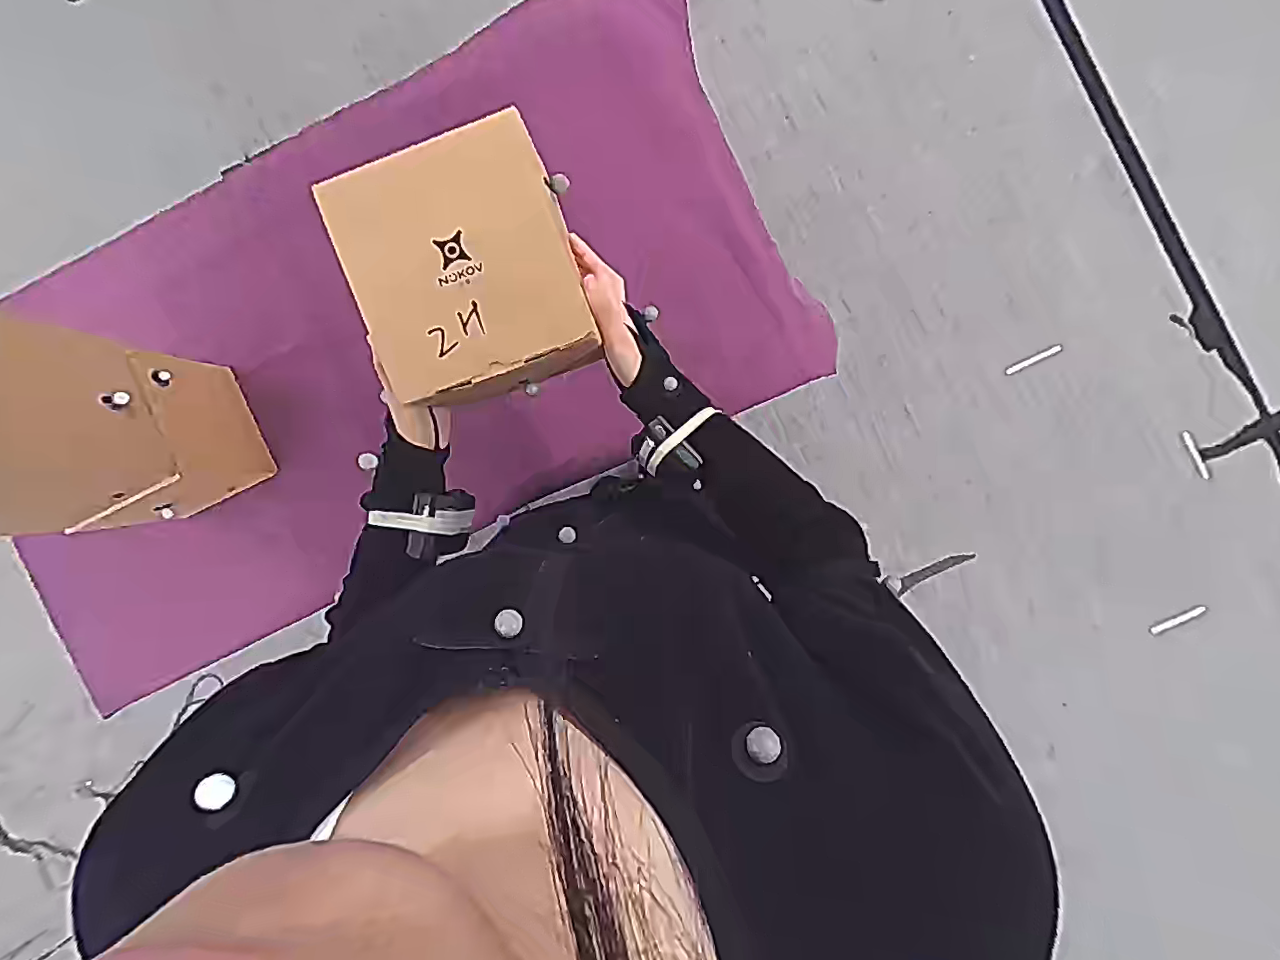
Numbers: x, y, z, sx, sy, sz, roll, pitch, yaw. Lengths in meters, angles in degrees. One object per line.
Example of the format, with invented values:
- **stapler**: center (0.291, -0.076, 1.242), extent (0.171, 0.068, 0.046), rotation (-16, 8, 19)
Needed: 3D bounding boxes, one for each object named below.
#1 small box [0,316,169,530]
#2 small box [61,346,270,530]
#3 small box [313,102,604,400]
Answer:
- **small box**: center (-0.658, -0.053, 0.557), extent (0.168, 0.176, 0.179), rotation (-26, 90, 3)
- **small box**: center (-0.648, -0.053, 0.721), extent (0.168, 0.176, 0.179), rotation (-25, 90, 3)
- **small box**: center (-0.138, -0.178, 0.483), extent (0.168, 0.176, 0.179), rotation (-19, 97, 4)
